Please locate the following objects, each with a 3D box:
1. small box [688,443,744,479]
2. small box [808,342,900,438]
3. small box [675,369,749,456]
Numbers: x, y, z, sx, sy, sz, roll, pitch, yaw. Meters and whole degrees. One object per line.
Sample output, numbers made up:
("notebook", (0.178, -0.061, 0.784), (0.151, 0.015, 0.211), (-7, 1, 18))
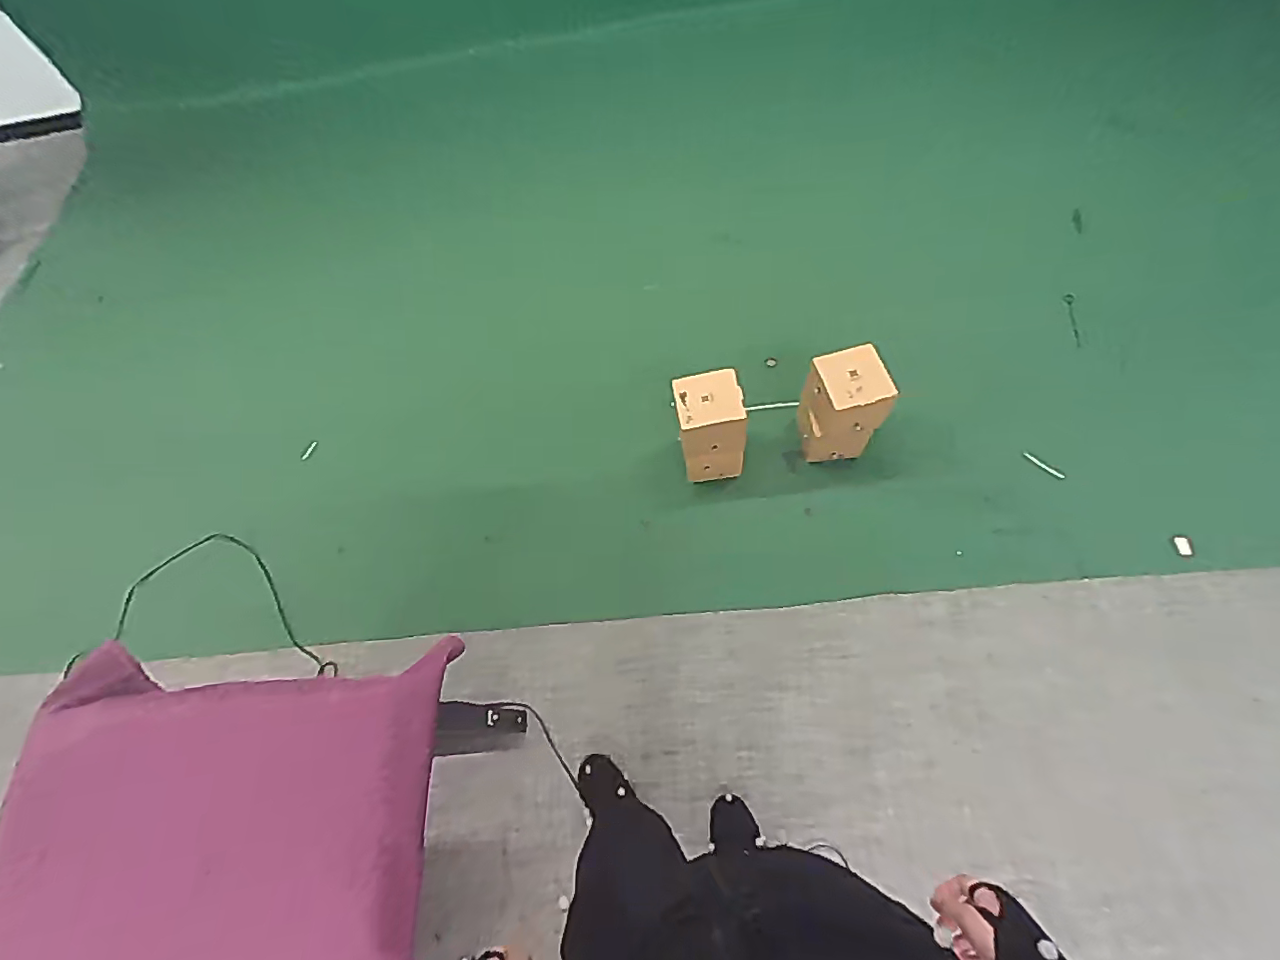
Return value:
("small box", (0.225, -0.114, 1.657), (0.168, 0.176, 0.179), (-8, 63, 5))
("small box", (0.574, -0.242, 1.480), (0.168, 0.176, 0.179), (-15, 64, 2))
("small box", (0.198, -0.184, 1.511), (0.179, 0.176, 0.168), (-10, 63, 4))
